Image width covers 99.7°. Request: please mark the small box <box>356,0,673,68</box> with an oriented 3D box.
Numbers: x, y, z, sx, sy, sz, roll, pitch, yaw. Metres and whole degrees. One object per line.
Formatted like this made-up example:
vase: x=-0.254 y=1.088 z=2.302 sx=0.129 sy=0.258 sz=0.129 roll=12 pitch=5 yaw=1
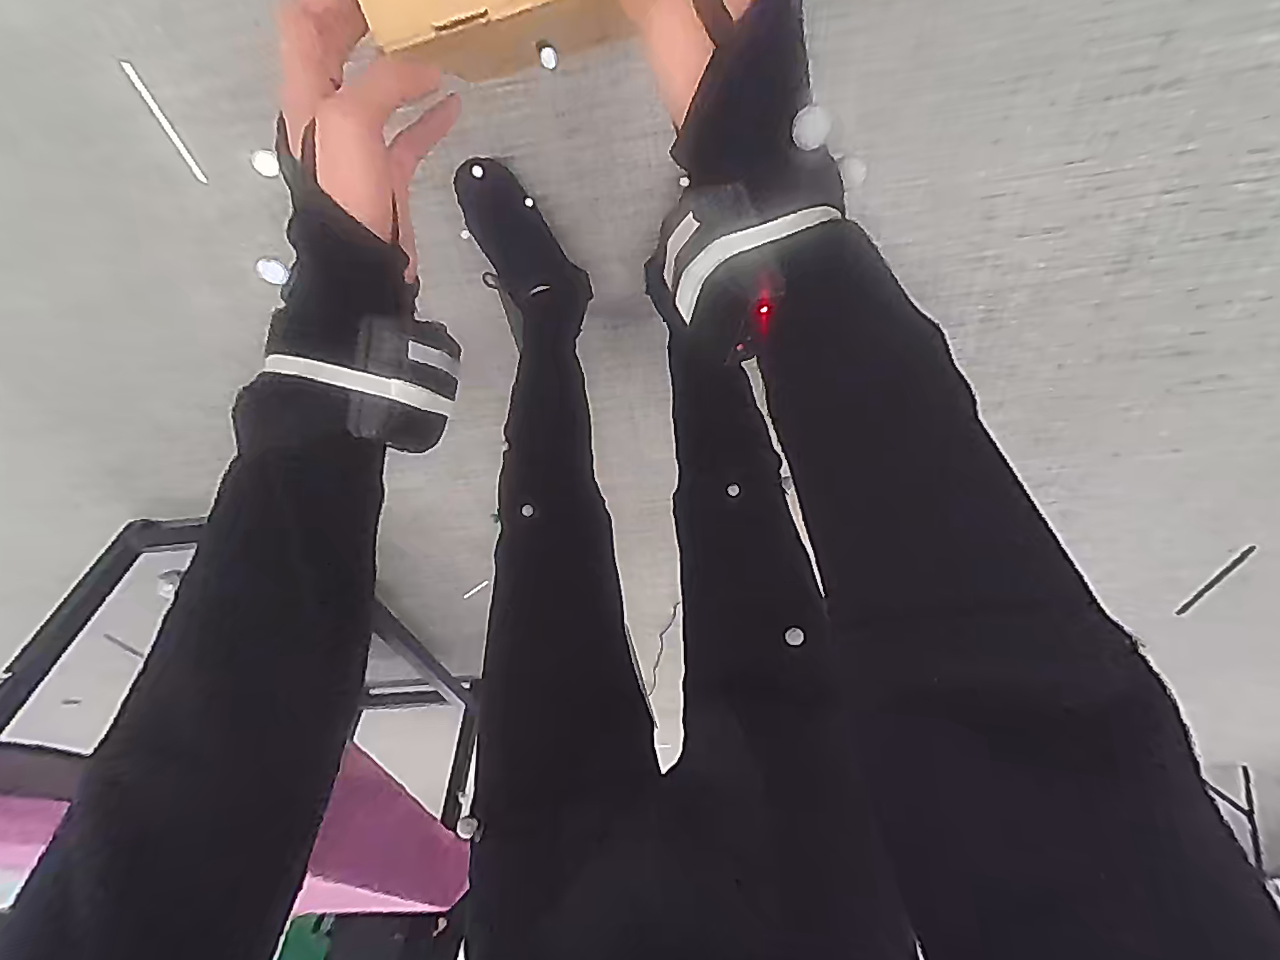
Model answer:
small box: x=-0.073 y=-0.349 z=0.284 sx=0.168 sy=0.176 sz=0.179 roll=-10 pitch=123 yaw=9
